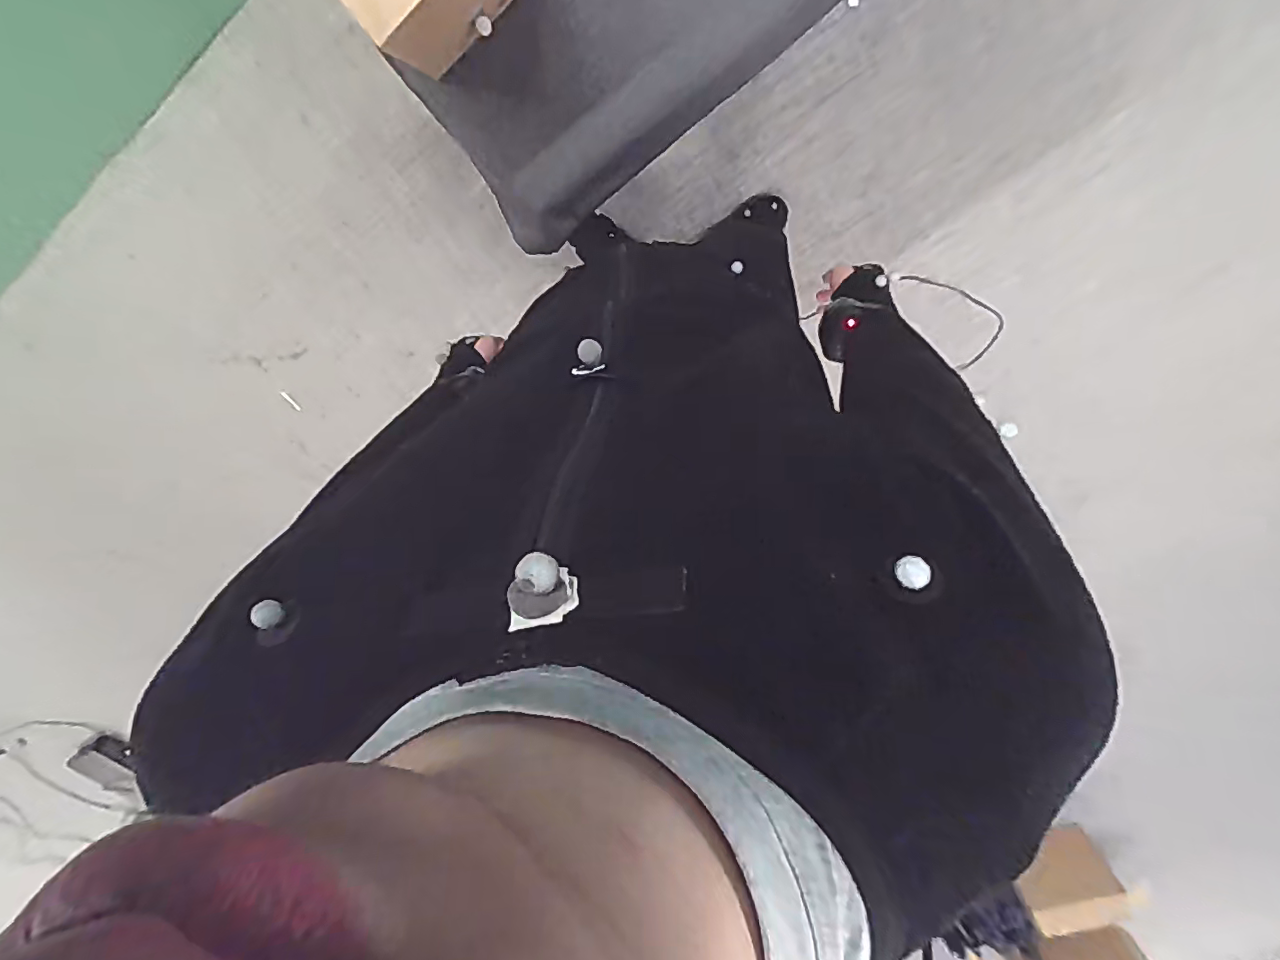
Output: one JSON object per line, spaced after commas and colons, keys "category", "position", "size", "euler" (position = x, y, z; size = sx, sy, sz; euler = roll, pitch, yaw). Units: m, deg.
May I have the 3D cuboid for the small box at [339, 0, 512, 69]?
{"category": "small box", "position": [-0.205, -0.496, 0.454], "size": [0.168, 0.176, 0.179], "euler": [-33, 115, 15]}
